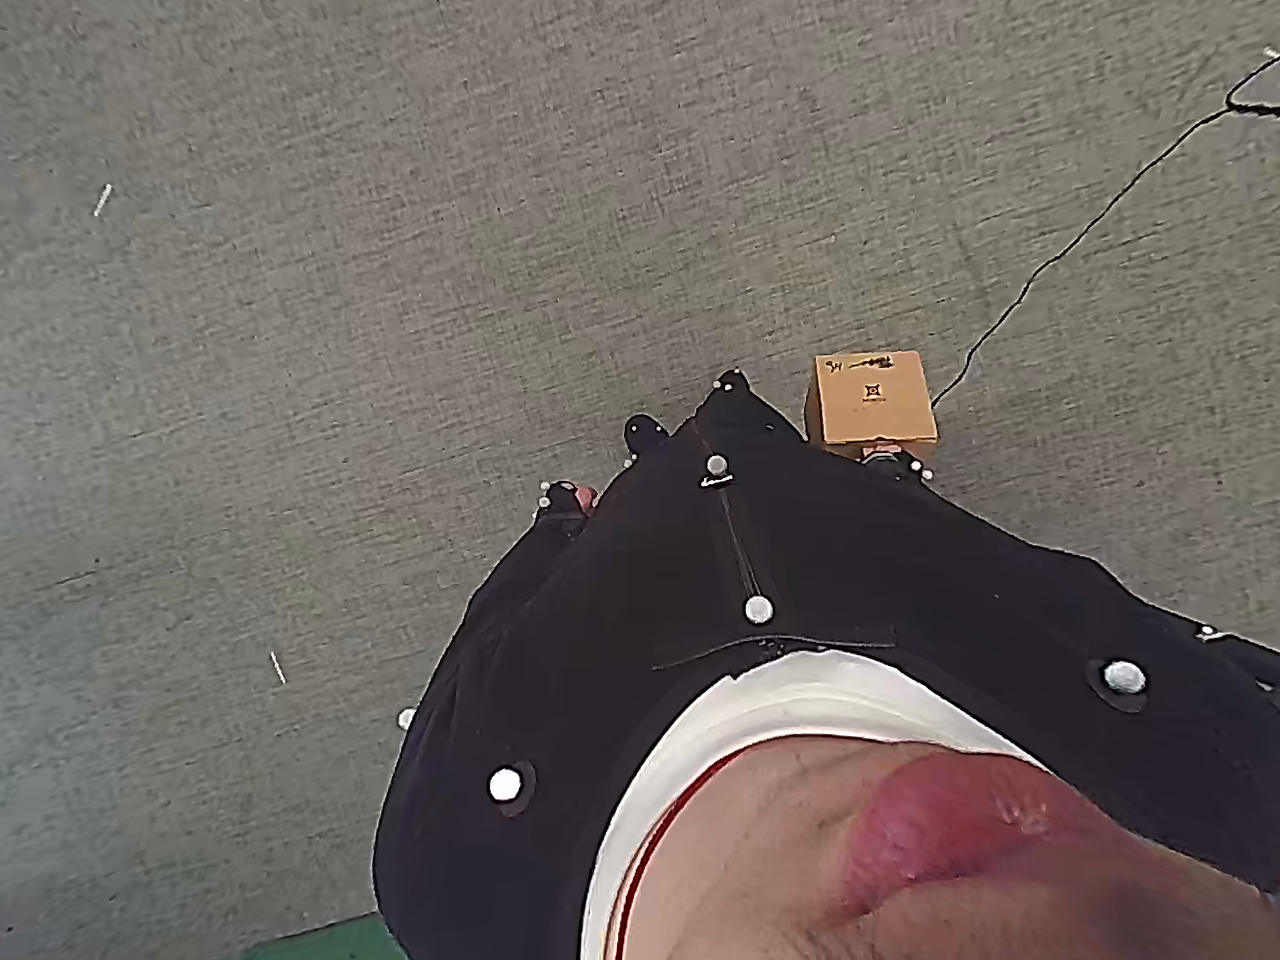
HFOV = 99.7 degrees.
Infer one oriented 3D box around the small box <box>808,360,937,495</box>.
[{"bbox_3d":[0.389,-0.082,0.938,0.168,0.176,0.179,-3,61,10],"label":"small box"}]
